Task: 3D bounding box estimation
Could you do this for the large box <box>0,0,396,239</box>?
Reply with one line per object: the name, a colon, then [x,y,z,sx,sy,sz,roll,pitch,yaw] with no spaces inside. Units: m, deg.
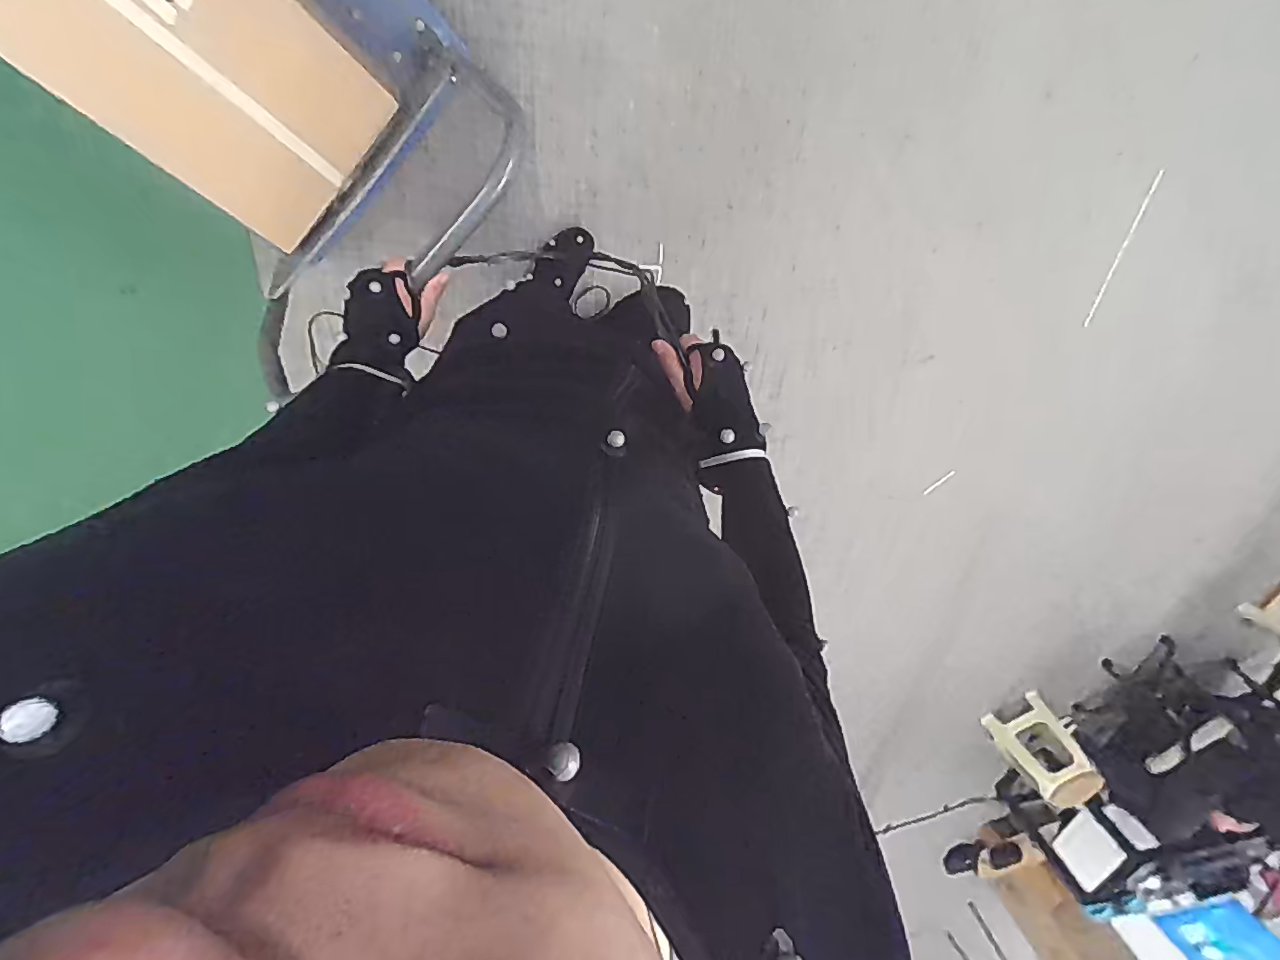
large box: [-0.653,-0.675,0.849,0.320,0.320,0.408,-42,132,14]
